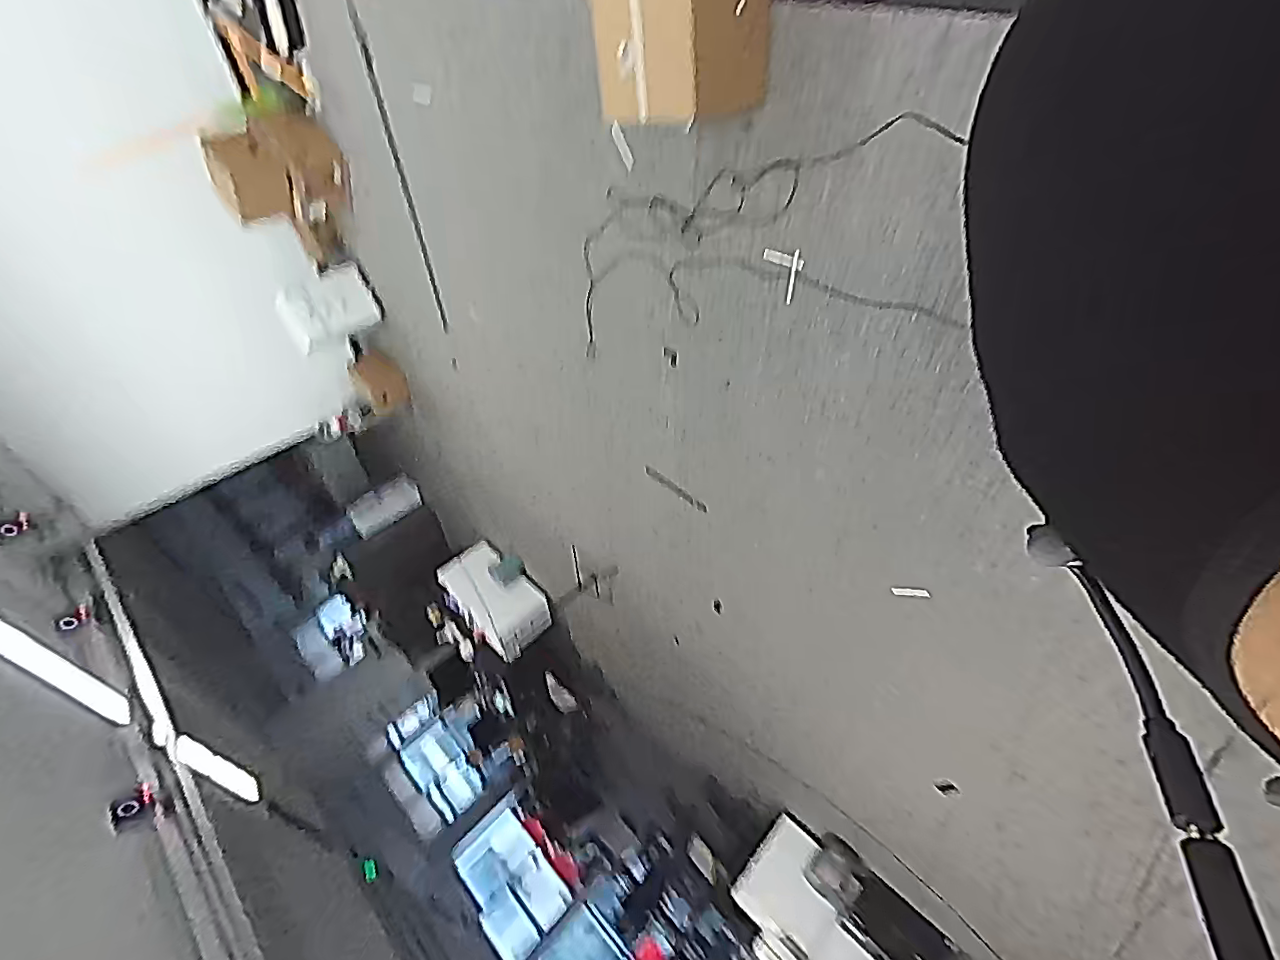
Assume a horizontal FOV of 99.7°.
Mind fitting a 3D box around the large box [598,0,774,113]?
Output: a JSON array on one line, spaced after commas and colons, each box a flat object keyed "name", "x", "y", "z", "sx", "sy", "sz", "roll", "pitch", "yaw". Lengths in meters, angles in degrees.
[{"name": "large box", "x": 0.114, "y": -1.151, "z": 1.300, "sx": 0.320, "sy": 0.320, "sz": 0.408, "roll": 29, "pitch": 142, "yaw": 35}]
